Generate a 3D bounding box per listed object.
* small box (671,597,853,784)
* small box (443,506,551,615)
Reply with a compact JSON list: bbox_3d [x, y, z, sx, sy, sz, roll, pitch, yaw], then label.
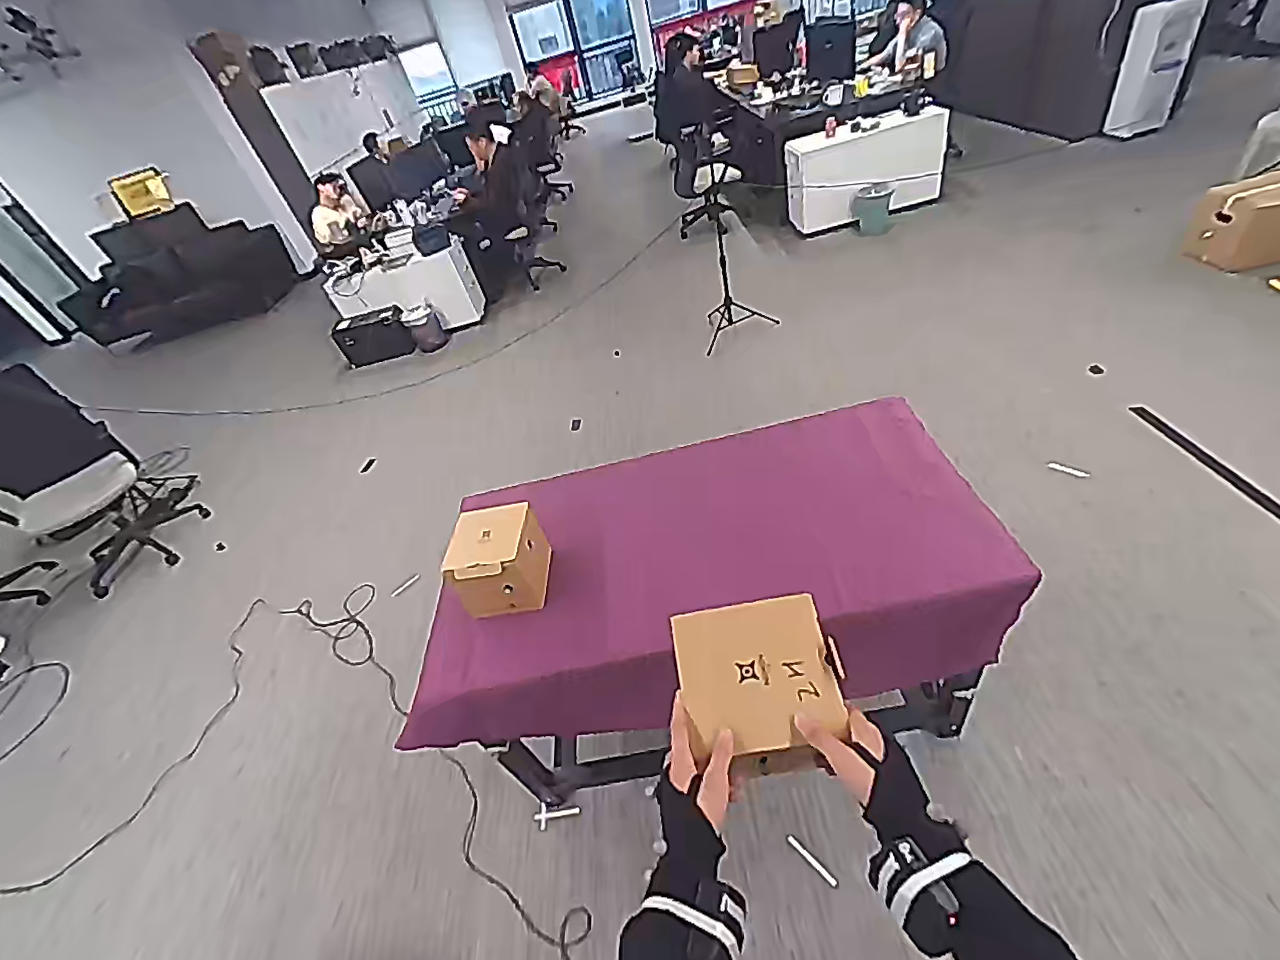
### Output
[{"bbox_3d":[0.144,0.267,0.673,0.179,0.176,0.168,-10,52,4],"label":"small box"},{"bbox_3d":[-0.307,0.186,1.206,0.168,0.176,0.179,-9,40,8],"label":"small box"}]
